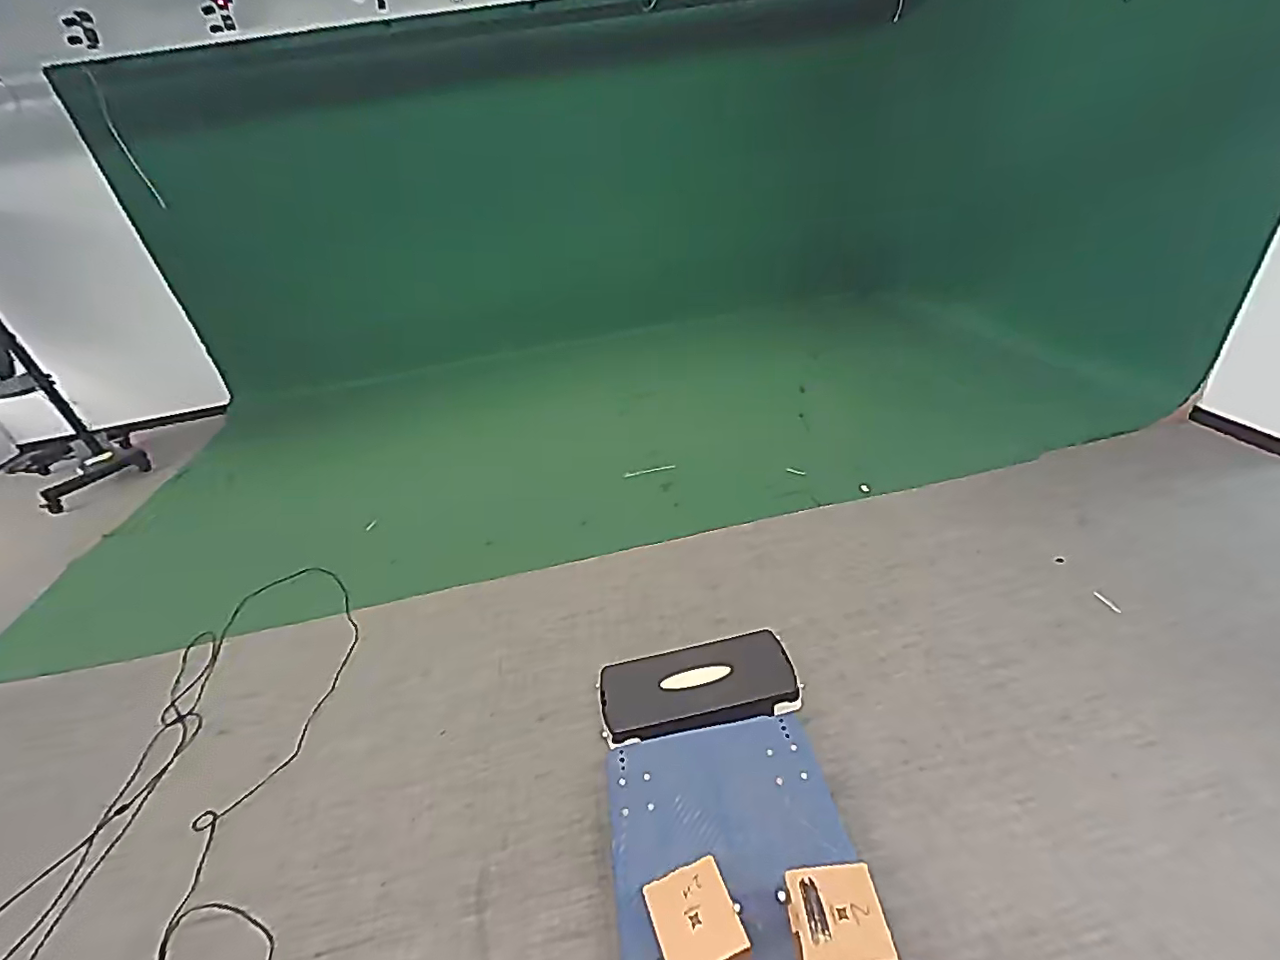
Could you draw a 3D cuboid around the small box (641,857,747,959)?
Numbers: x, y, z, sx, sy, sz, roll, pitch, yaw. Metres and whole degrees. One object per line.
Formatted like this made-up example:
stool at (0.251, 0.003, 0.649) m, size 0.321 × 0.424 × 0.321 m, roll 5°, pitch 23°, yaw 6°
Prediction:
small box at (0.115, 0.950, 1.135) m, size 0.168 × 0.176 × 0.179 m, roll -16°, pitch 34°, yaw -13°
